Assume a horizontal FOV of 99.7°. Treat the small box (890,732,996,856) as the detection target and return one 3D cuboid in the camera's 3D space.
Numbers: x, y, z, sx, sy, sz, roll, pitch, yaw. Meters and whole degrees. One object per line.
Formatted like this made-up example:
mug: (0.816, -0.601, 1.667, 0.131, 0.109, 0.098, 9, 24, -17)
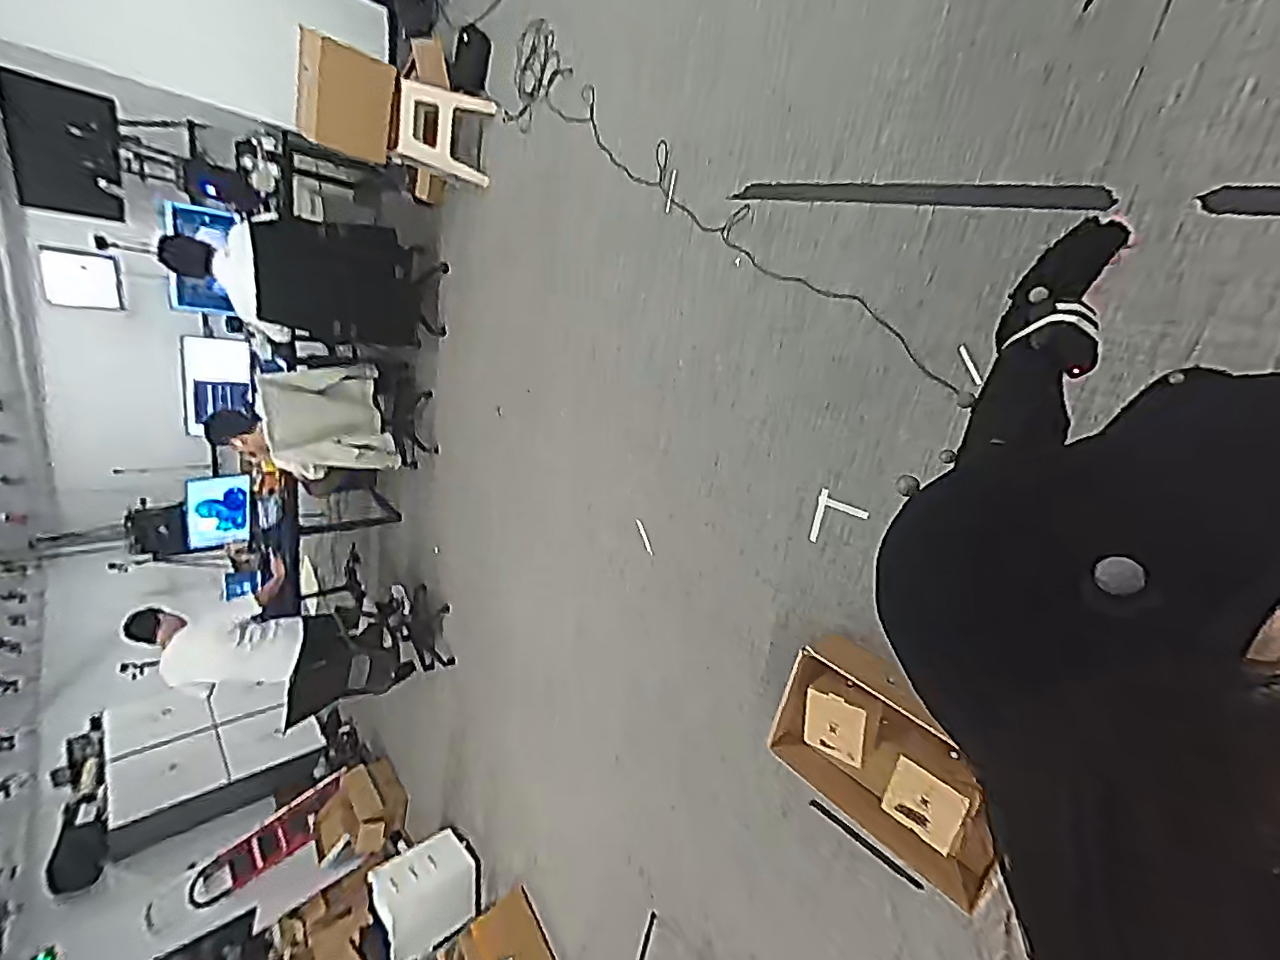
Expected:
small box: (0.771, 0.787, 1.371, 0.168, 0.176, 0.179, 26, 114, 42)
